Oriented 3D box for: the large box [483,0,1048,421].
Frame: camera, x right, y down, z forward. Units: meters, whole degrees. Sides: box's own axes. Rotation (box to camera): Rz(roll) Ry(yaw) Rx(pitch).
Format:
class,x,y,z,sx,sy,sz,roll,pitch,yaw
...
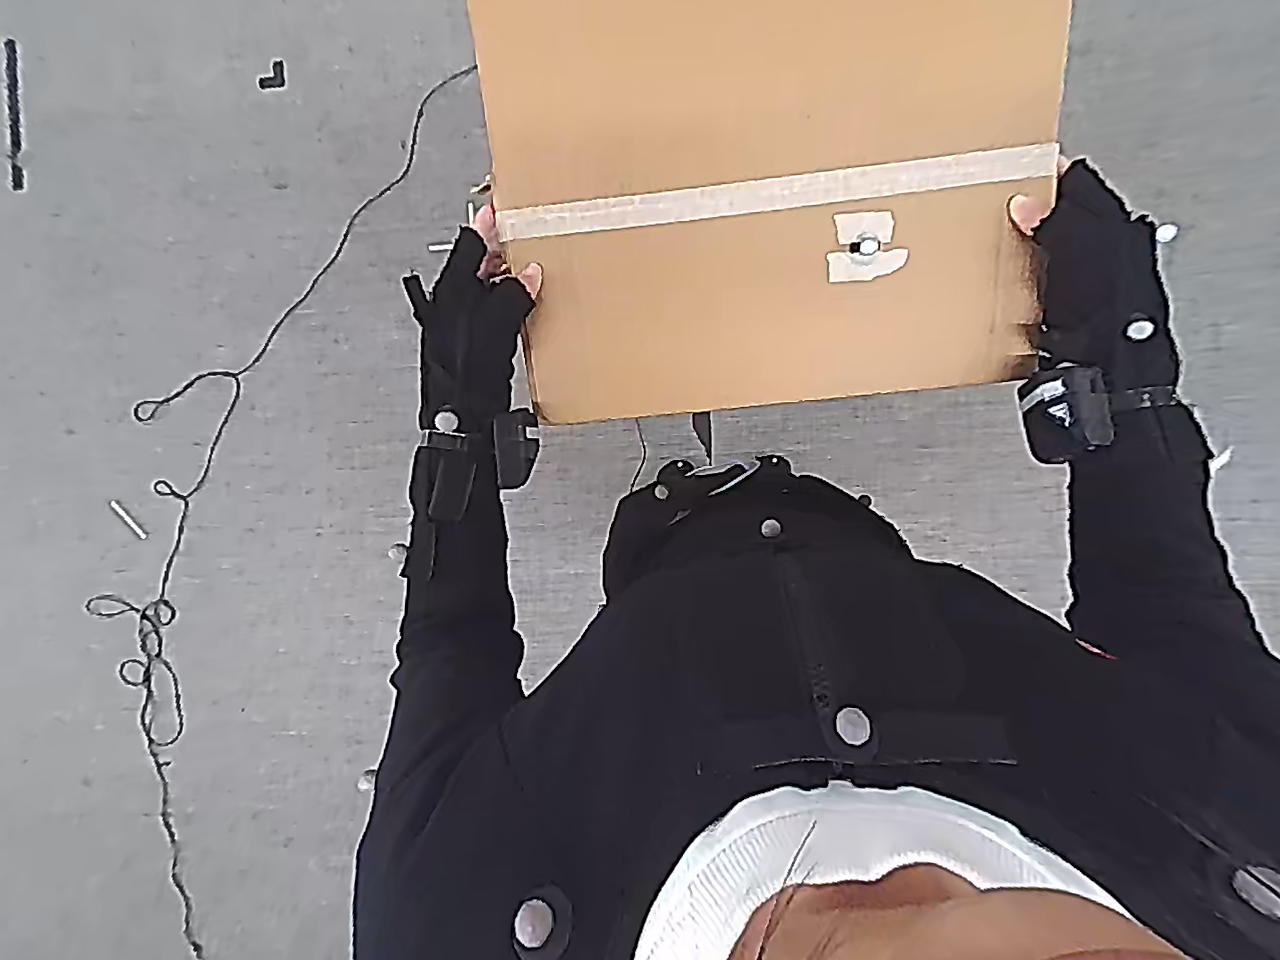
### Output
class,x,y,z,sx,sy,sz,roll,pitch,yaw
large box,0.101,-0.259,0.559,0.408,0.320,0.320,-6,107,3
